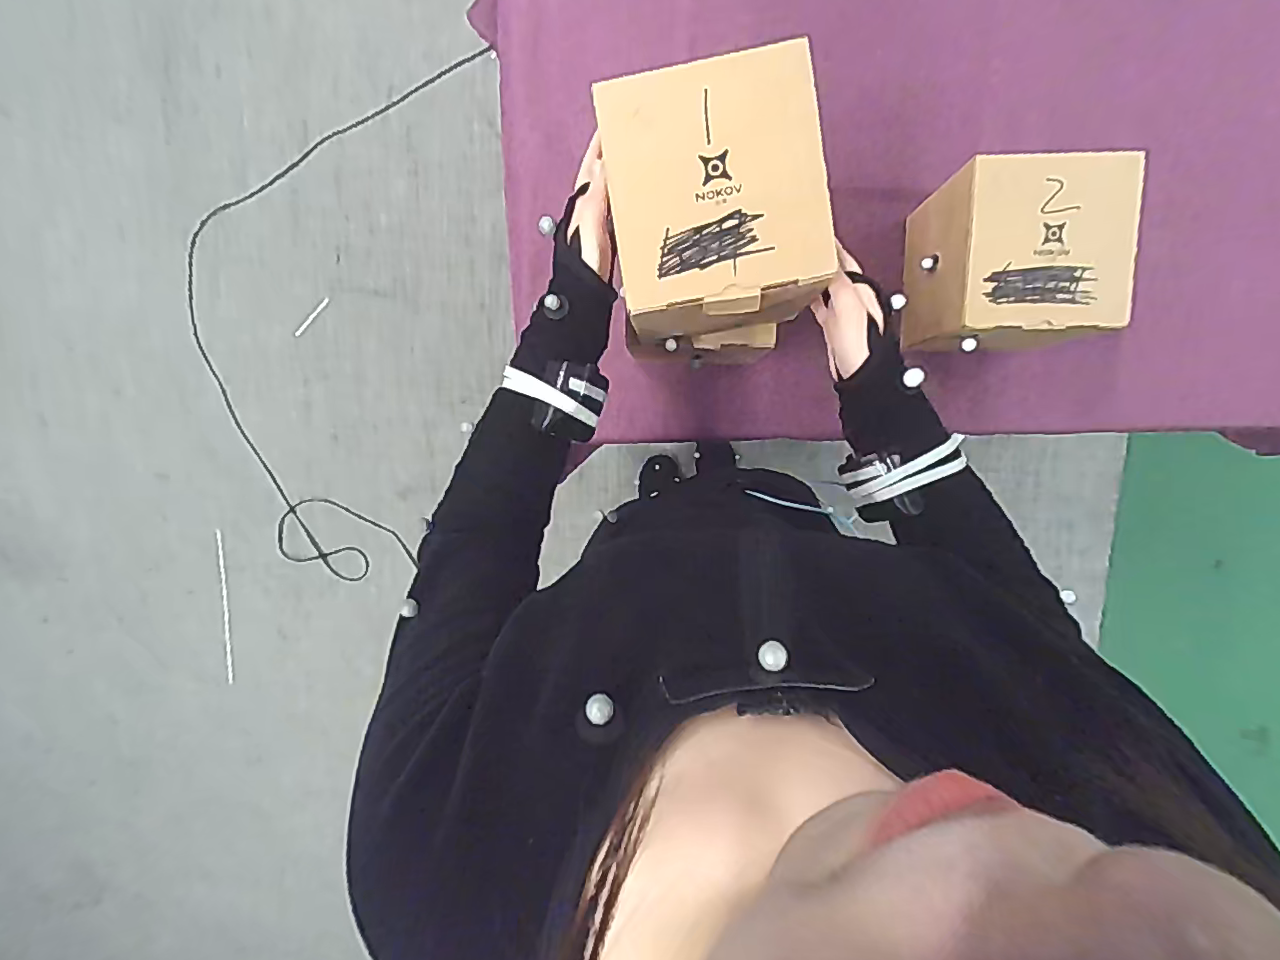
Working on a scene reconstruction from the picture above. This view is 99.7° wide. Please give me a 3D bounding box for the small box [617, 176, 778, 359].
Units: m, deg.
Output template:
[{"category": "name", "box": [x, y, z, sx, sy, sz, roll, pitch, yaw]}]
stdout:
[{"category": "small box", "box": [0.064, -0.243, 0.657, 0.168, 0.176, 0.179, 2, 97, 2]}]
